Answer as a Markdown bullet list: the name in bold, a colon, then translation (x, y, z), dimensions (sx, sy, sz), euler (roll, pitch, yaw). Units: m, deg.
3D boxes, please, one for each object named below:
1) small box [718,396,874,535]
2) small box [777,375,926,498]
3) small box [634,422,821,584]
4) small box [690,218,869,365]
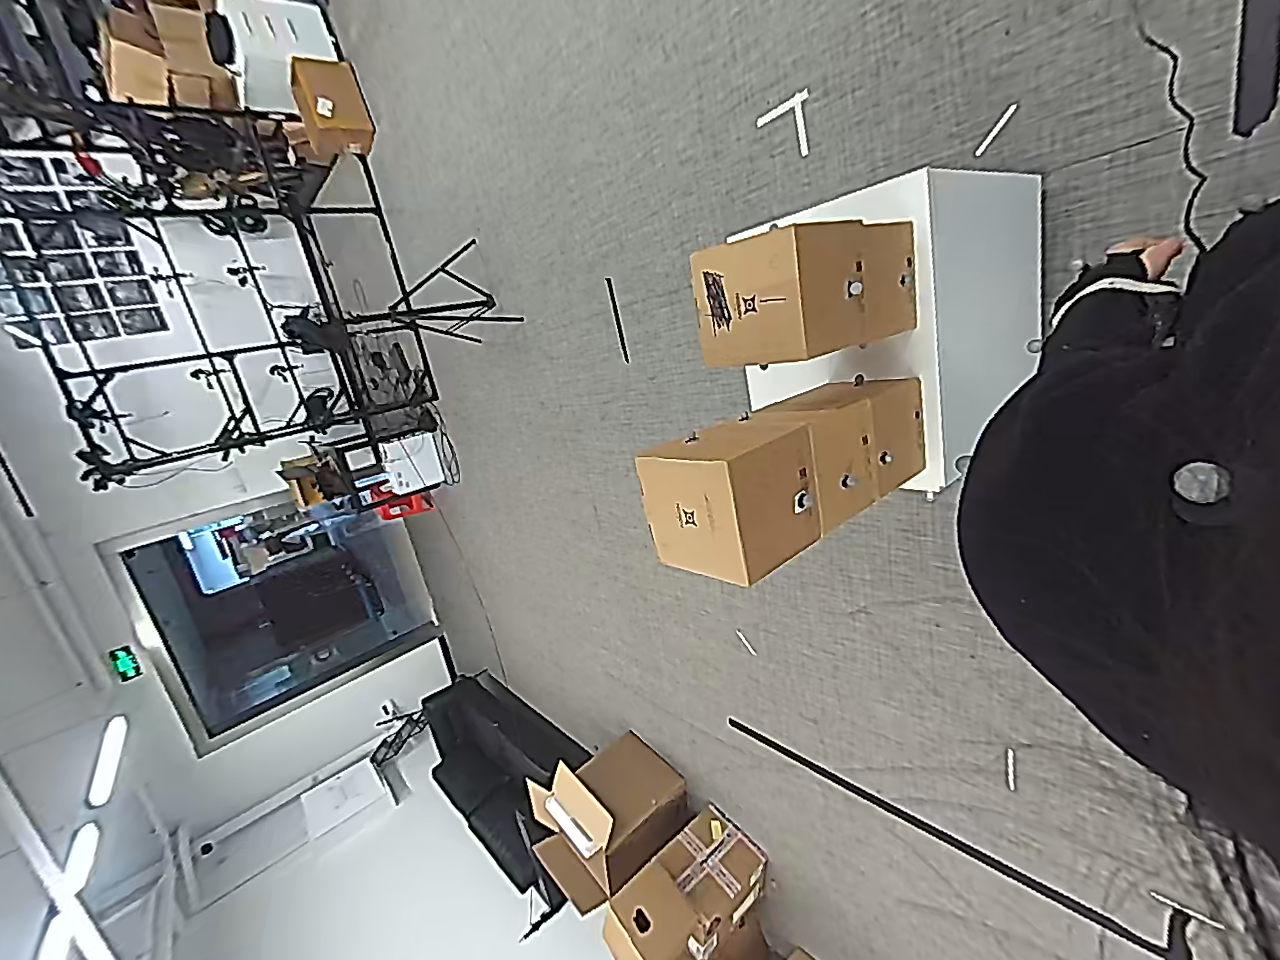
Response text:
- **small box**: translation (0.246, -0.030, 0.841), dimensions (0.179, 0.176, 0.168), euler (6, 113, 51)
- **small box**: translation (0.367, -0.081, 0.937), dimensions (0.179, 0.176, 0.168), euler (8, 116, 52)
- **small box**: translation (0.122, 0.019, 0.749), dimensions (0.179, 0.176, 0.168), euler (5, 113, 51)
- **small box**: translation (0.200, -0.264, 0.769), dimensions (0.179, 0.176, 0.168), euler (9, 116, 49)
